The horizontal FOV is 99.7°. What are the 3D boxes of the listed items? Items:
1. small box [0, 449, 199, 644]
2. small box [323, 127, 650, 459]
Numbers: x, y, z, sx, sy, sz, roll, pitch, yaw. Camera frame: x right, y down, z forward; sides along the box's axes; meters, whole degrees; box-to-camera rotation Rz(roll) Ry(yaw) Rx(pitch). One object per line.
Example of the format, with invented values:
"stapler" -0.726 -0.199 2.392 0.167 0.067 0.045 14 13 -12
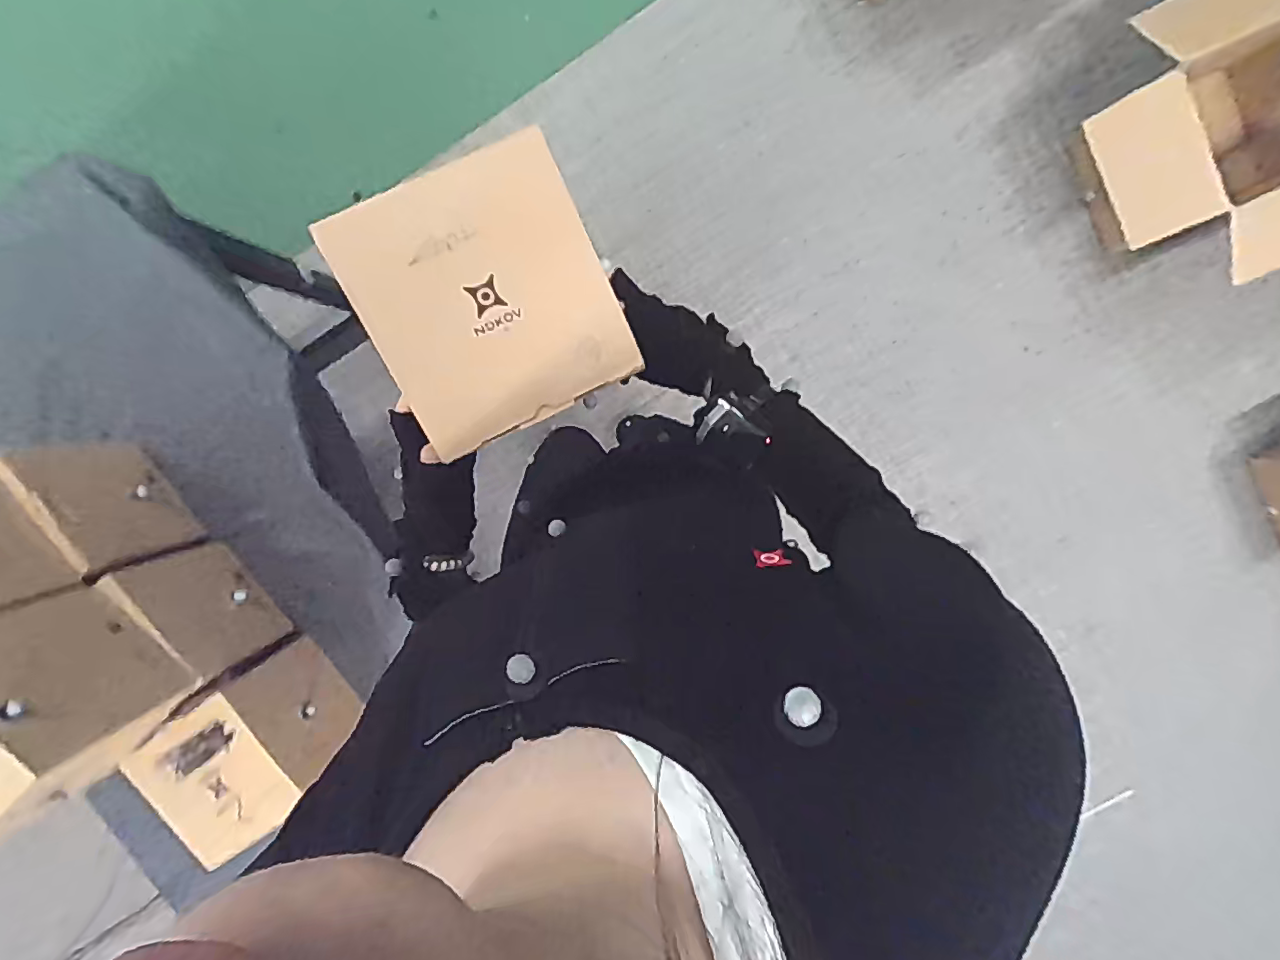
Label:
"small box" -0.736 0.076 0.691 0.179 0.176 0.168 -35 97 5
"small box" -0.110 -0.139 0.447 0.168 0.176 0.179 -26 104 -5
